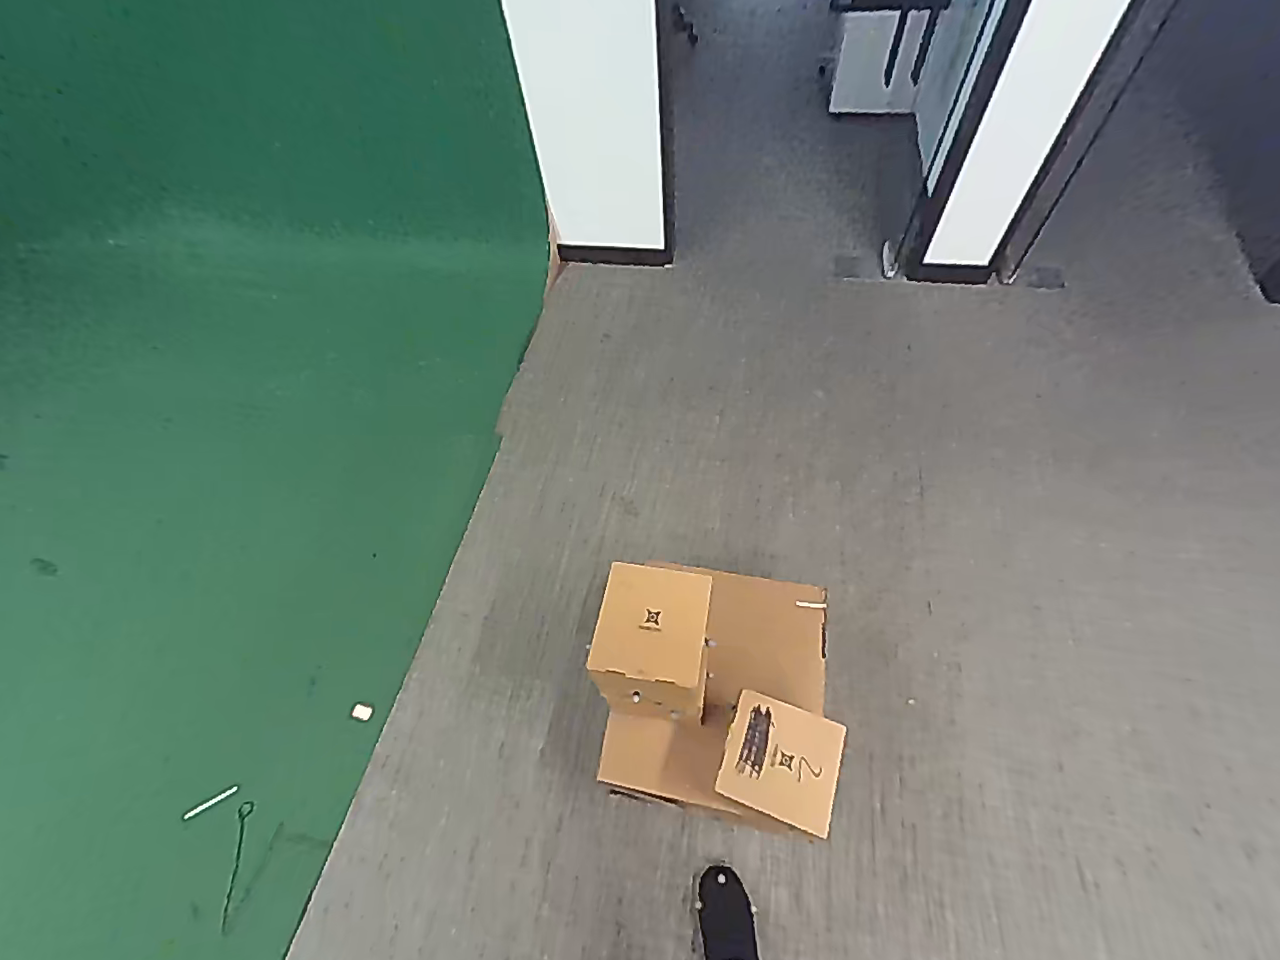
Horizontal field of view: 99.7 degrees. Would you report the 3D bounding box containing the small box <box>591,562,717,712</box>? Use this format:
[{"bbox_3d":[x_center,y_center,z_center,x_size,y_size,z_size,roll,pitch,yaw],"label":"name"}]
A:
[{"bbox_3d":[0.029,0.260,0.887,0.168,0.176,0.179,8,58,11],"label":"small box"}]

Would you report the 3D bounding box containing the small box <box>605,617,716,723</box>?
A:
[{"bbox_3d":[0.045,0.349,1.021,0.179,0.176,0.168,6,56,10],"label":"small box"}]
